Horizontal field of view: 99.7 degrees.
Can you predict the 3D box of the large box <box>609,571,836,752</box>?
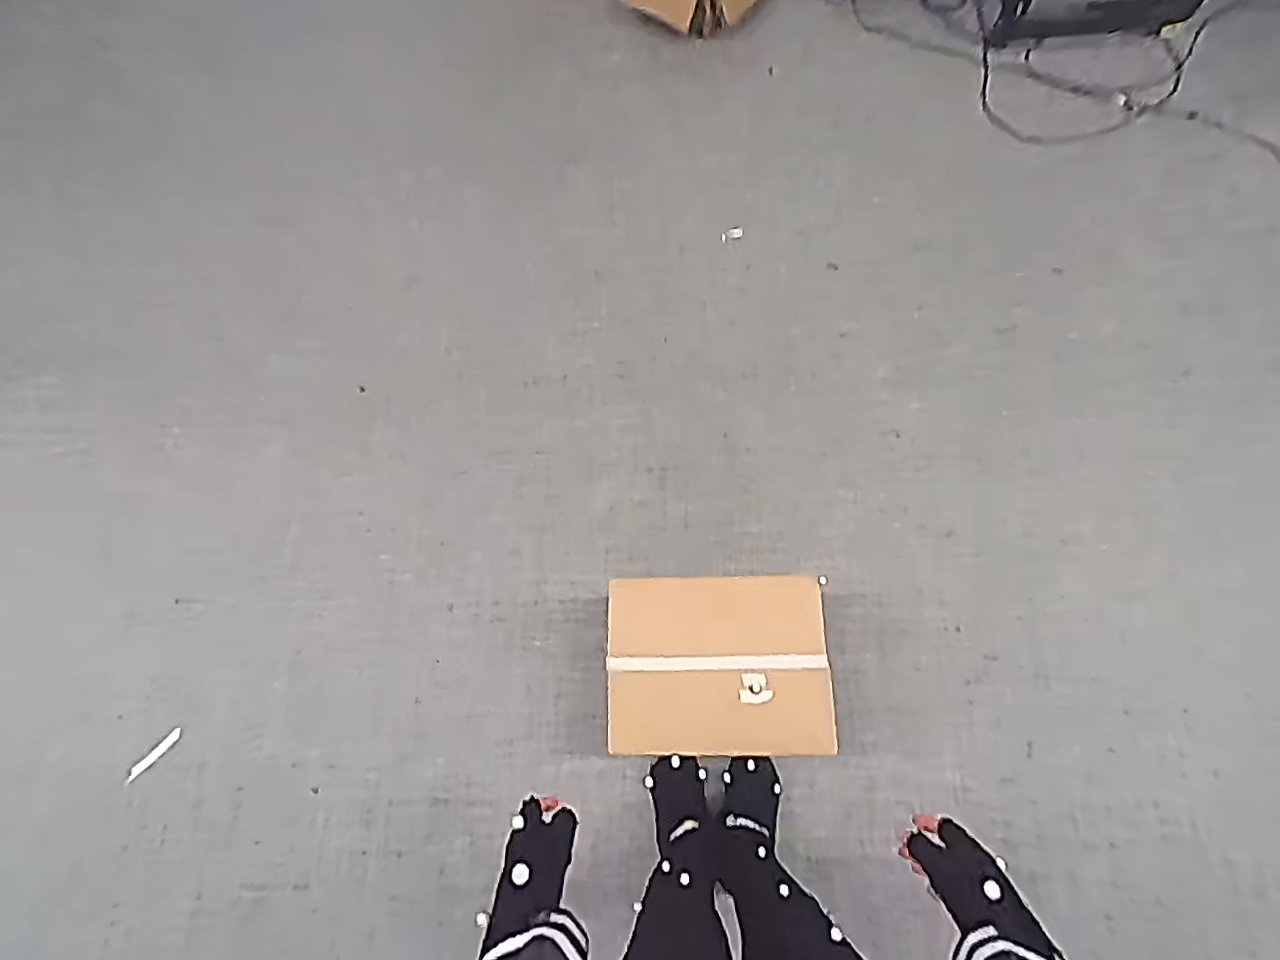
[{"bbox_3d":[0.151,0.373,1.140,0.408,0.320,0.320,-2,74,3],"label":"large box"}]
